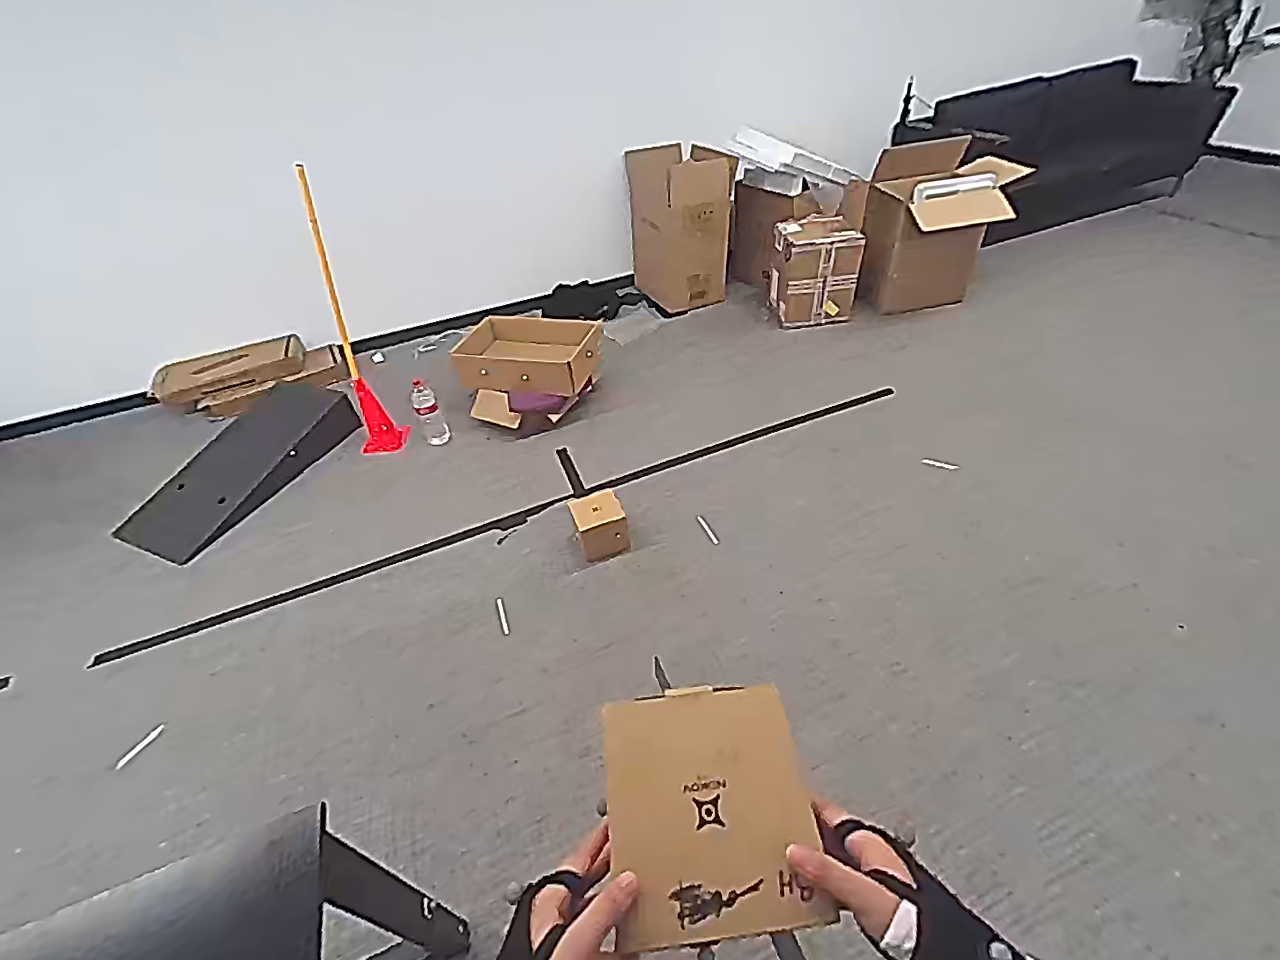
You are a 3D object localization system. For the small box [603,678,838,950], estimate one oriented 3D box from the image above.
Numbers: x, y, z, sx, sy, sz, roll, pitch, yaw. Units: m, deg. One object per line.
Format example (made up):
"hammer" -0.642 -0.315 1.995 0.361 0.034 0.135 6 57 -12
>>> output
"small box" 0.057 0.309 0.501 0.168 0.176 0.179 -6 48 -3

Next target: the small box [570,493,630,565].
"small box" -0.143 0.183 2.003 0.179 0.176 0.168 -19 42 -13
